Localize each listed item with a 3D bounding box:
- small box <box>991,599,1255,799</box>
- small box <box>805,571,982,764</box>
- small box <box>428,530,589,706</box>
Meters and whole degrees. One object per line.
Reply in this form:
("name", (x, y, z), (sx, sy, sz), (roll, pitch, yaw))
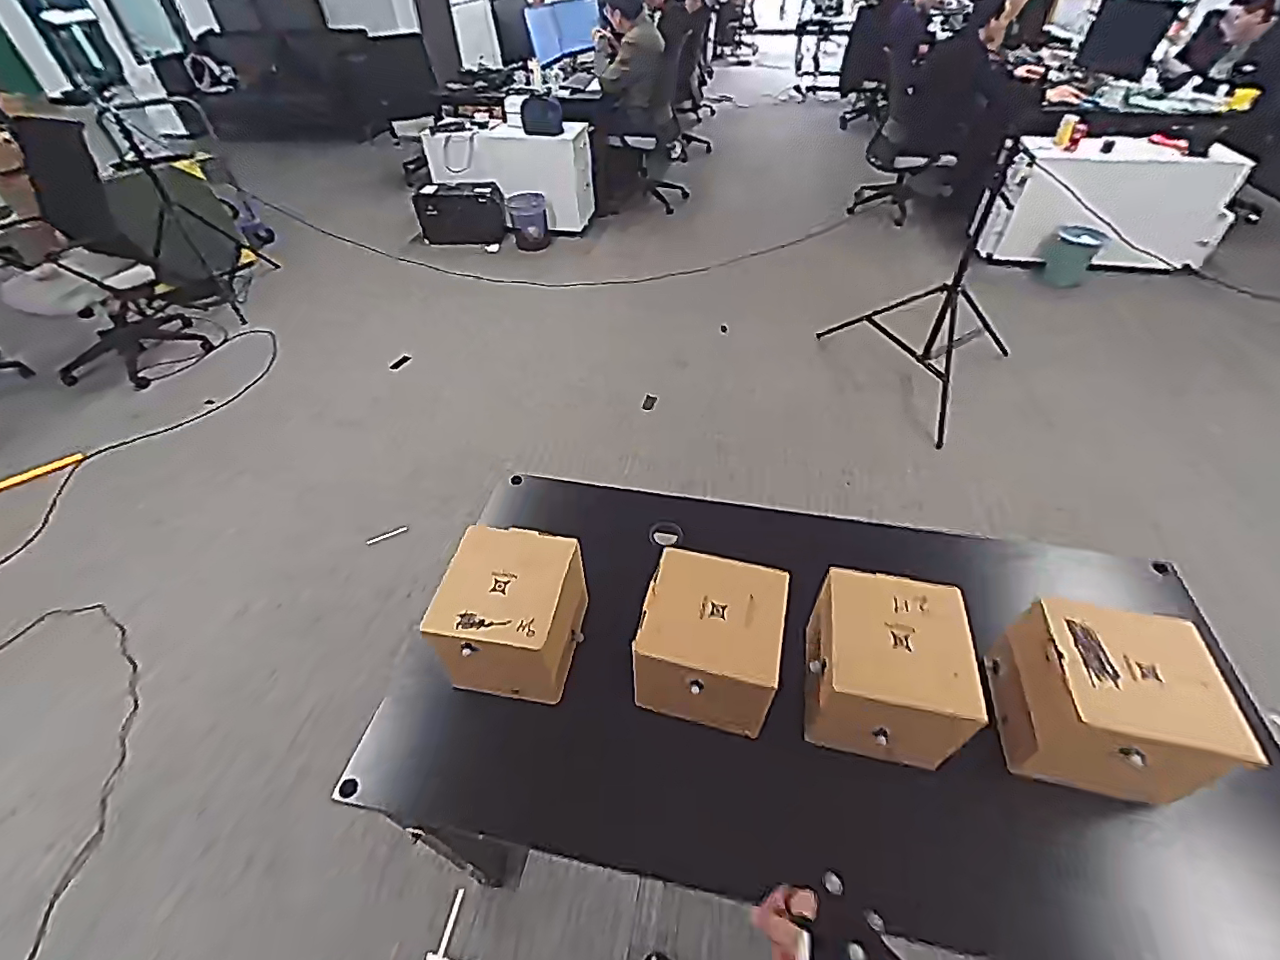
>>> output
("small box", (0.579, 0.280, 0.689), (0.179, 0.176, 0.168), (9, 46, 10))
("small box", (0.322, 0.253, 0.724), (0.168, 0.176, 0.179), (9, 46, 10))
("small box", (-0.176, 0.200, 0.791), (0.168, 0.176, 0.179), (6, 46, 9))
